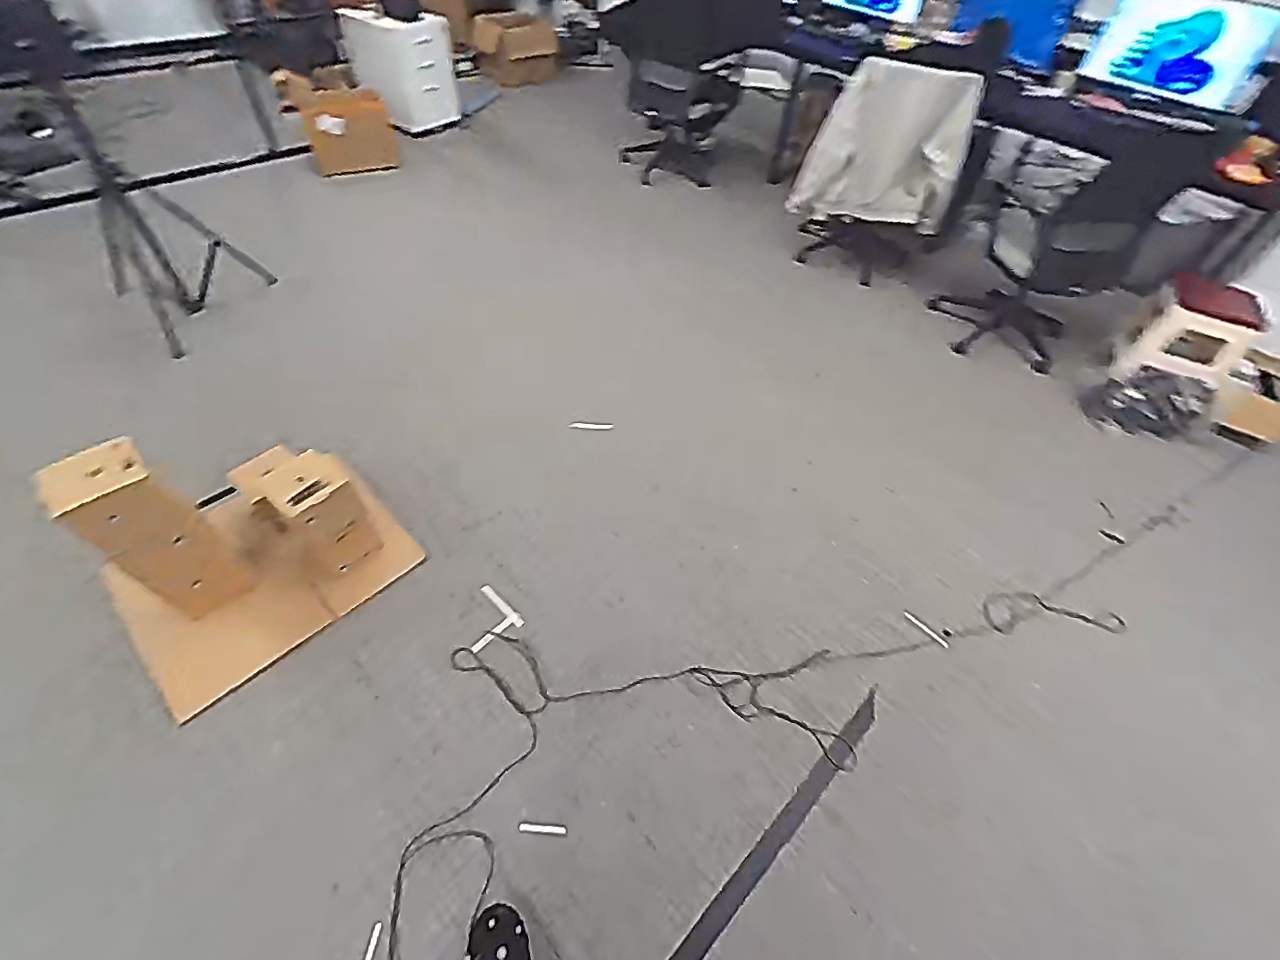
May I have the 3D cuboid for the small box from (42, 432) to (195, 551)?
[{"bbox_3d":[-1.186,0.030,1.241,0.179,0.176,0.168,-36,63,-27],"label":"small box"}]

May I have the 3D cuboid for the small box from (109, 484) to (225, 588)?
[{"bbox_3d":[-1.196,0.136,1.366,0.179,0.176,0.168,-33,61,-26],"label":"small box"}]

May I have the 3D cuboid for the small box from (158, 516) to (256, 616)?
[{"bbox_3d":[-1.206,0.239,1.494,0.179,0.176,0.168,-34,62,-27],"label":"small box"}]

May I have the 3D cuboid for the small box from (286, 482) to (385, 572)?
[{"bbox_3d":[-0.892,0.146,1.600,0.179,0.176,0.168,35,56,21],"label":"small box"}]

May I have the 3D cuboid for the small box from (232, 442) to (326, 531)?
[{"bbox_3d":[-1.106,0.021,1.684,0.168,0.176,0.179,34,56,22],"label":"small box"}]
